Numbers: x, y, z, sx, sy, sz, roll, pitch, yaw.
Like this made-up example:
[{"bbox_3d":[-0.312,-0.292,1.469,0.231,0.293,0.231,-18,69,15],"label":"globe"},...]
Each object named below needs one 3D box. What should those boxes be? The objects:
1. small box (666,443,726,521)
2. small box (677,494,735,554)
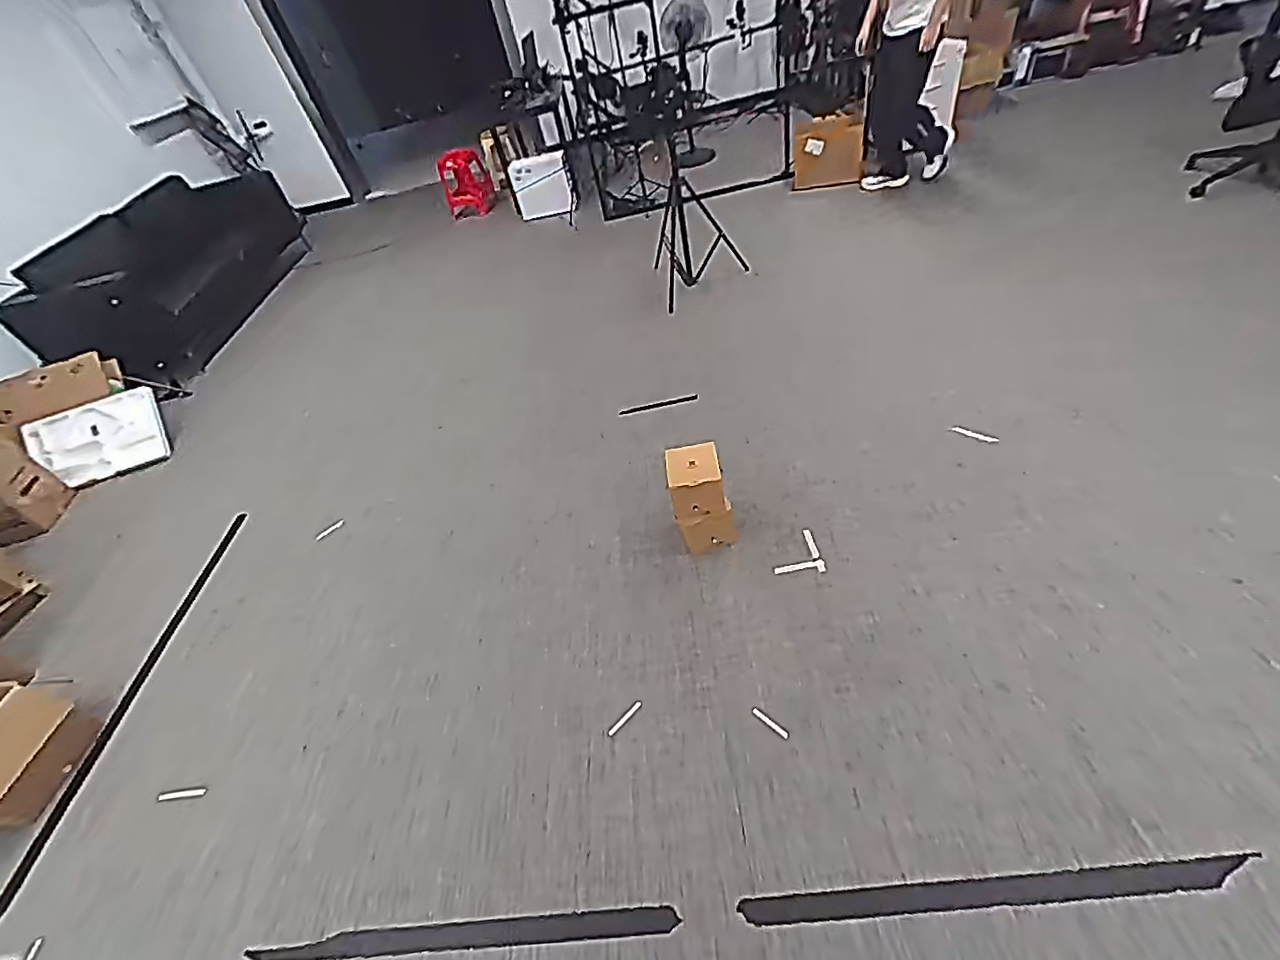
[{"bbox_3d":[0.180,0.007,1.754,0.168,0.176,0.179,-10,45,6],"label":"small box"},{"bbox_3d":[0.219,0.123,1.862,0.168,0.176,0.179,-19,44,-3],"label":"small box"}]
